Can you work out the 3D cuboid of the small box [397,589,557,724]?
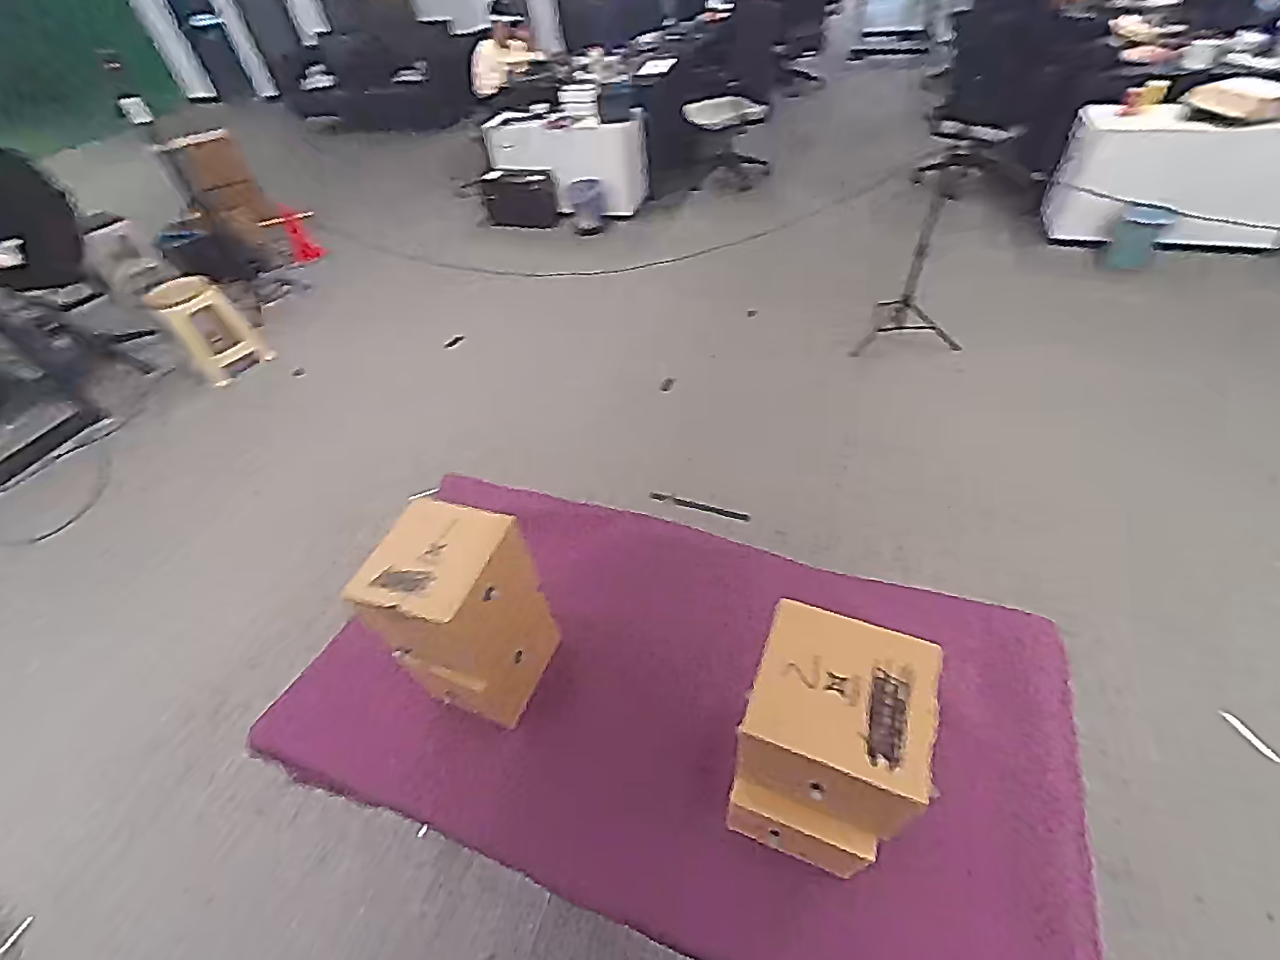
[{"bbox_3d":[-0.254,0.274,0.898,0.168,0.176,0.179,15,51,18],"label":"small box"}]

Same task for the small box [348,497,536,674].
[{"bbox_3d":[-0.268,0.155,0.785,0.168,0.176,0.179,11,50,16],"label":"small box"}]

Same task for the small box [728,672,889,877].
[{"bbox_3d":[0.223,0.399,0.731,0.168,0.176,0.179,14,50,19],"label":"small box"}]
